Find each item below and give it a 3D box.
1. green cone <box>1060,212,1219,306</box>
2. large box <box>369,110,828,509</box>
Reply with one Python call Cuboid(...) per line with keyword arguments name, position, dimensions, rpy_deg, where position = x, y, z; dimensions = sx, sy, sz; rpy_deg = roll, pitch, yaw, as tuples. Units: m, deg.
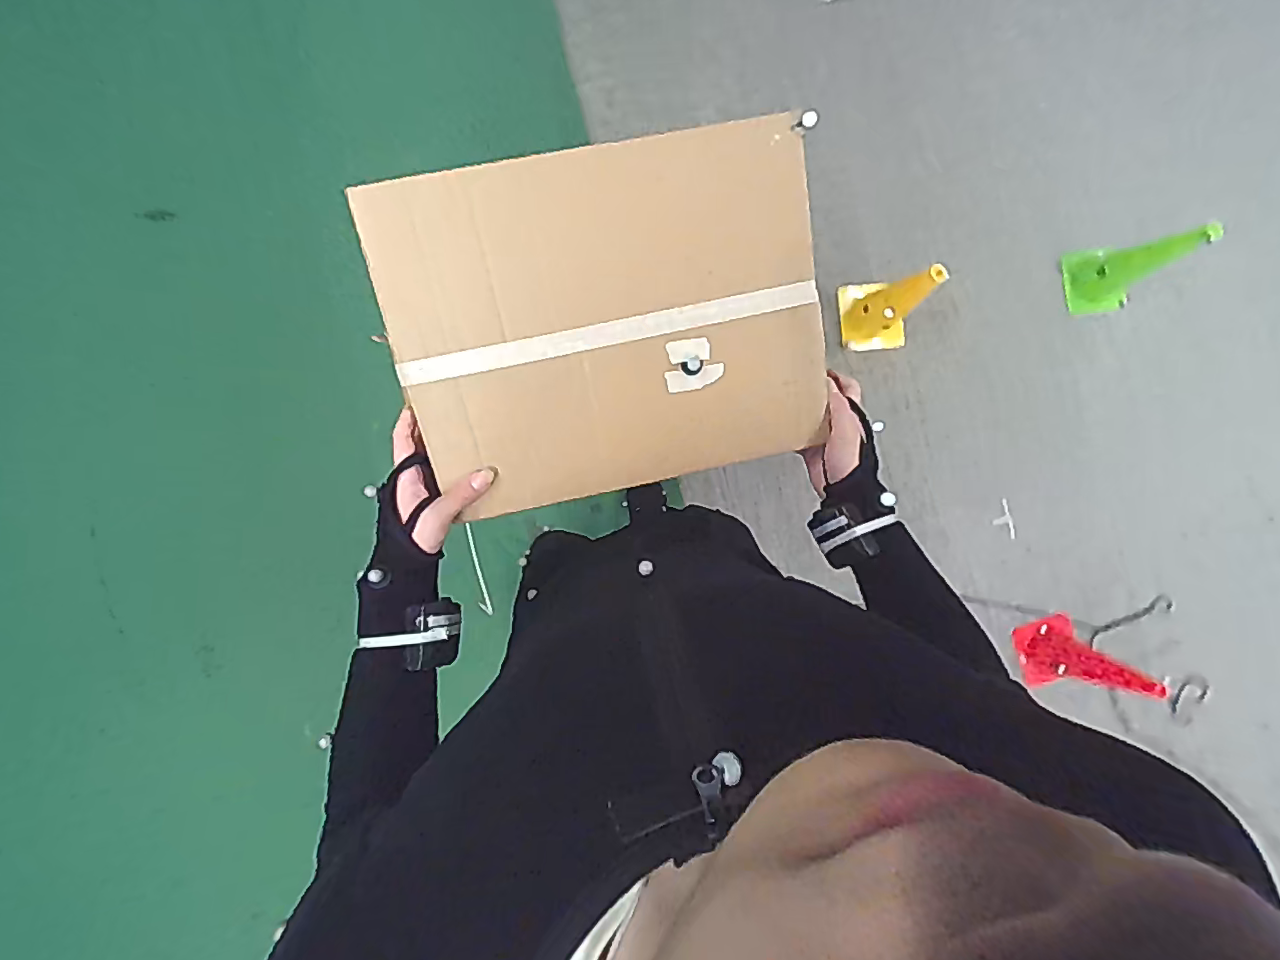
Cuboid(name="green cone", position=(1.463, -0.672, 1.563), dimensions=(0.202, 0.368, 0.200), rpy_deg=(-9, 90, -2))
Cuboid(name="large box", position=(-0.038, -0.192, 0.665), dimensions=(0.408, 0.320, 0.320), rpy_deg=(-12, 107, -5))
